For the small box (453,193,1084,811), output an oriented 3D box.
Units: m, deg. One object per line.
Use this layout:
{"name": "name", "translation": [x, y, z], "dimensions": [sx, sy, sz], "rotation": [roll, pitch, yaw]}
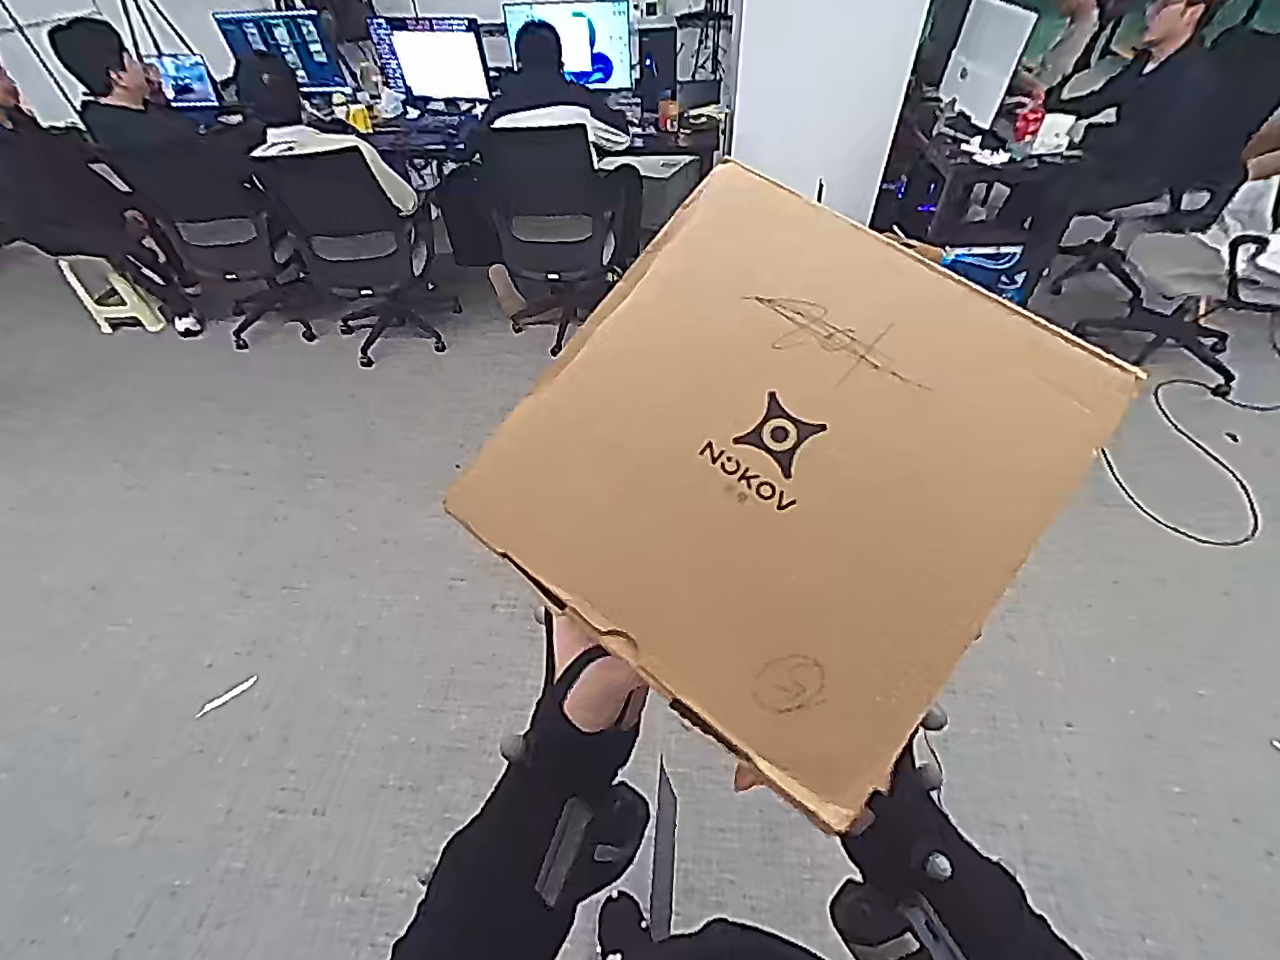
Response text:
{"name": "small box", "translation": [0.051, 0.012, 0.274], "dimensions": [0.168, 0.176, 0.179], "rotation": [36, 82, 13]}
